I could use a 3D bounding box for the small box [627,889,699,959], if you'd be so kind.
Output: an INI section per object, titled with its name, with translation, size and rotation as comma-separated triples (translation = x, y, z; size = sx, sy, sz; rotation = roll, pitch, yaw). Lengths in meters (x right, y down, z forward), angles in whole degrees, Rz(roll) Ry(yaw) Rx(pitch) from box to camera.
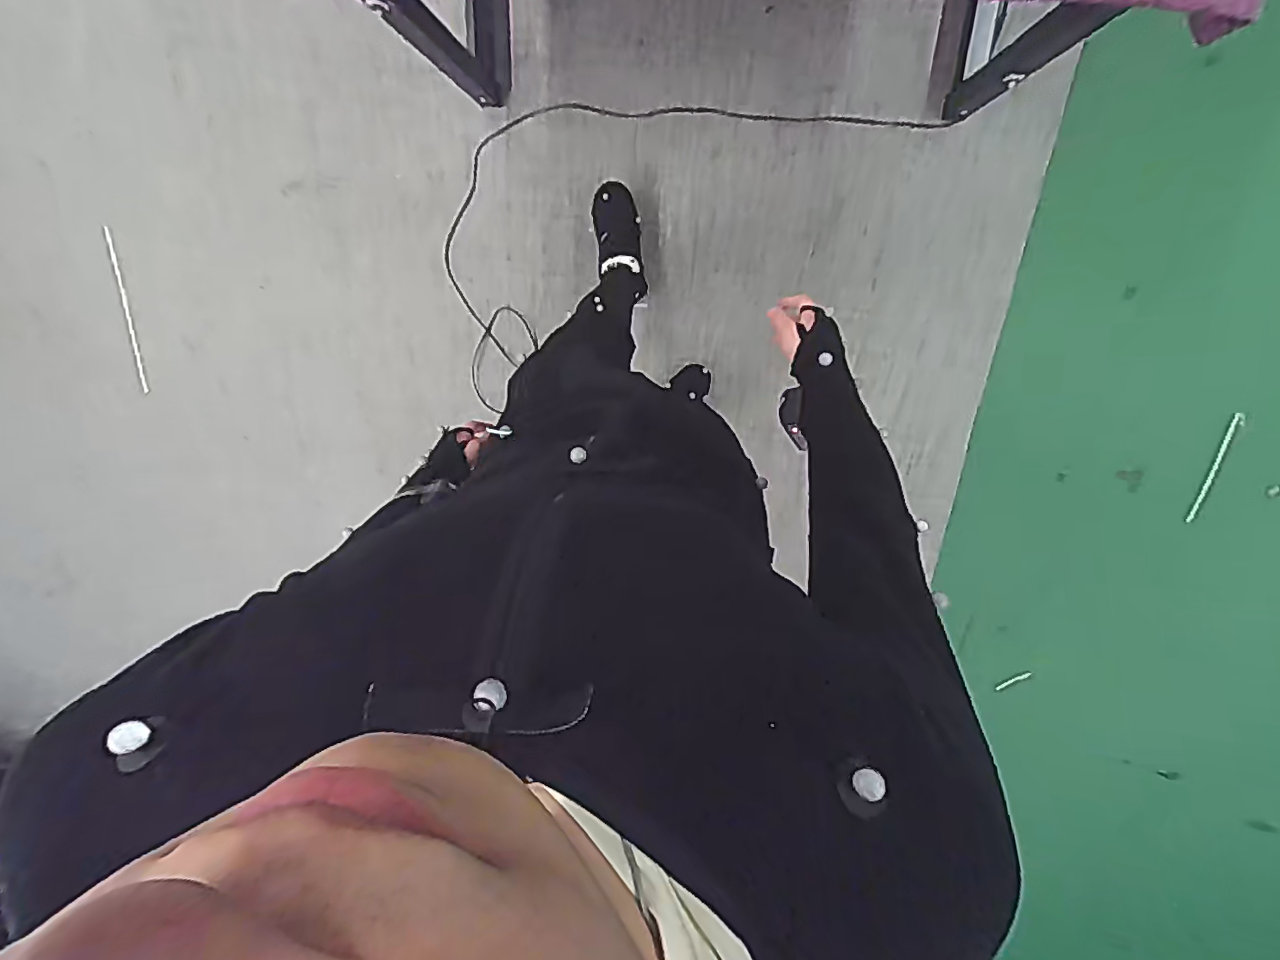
[small box]
translation = 0.054, 1.158, 1.327
size = 0.168, 0.176, 0.179
rotation = 7, 109, 3
